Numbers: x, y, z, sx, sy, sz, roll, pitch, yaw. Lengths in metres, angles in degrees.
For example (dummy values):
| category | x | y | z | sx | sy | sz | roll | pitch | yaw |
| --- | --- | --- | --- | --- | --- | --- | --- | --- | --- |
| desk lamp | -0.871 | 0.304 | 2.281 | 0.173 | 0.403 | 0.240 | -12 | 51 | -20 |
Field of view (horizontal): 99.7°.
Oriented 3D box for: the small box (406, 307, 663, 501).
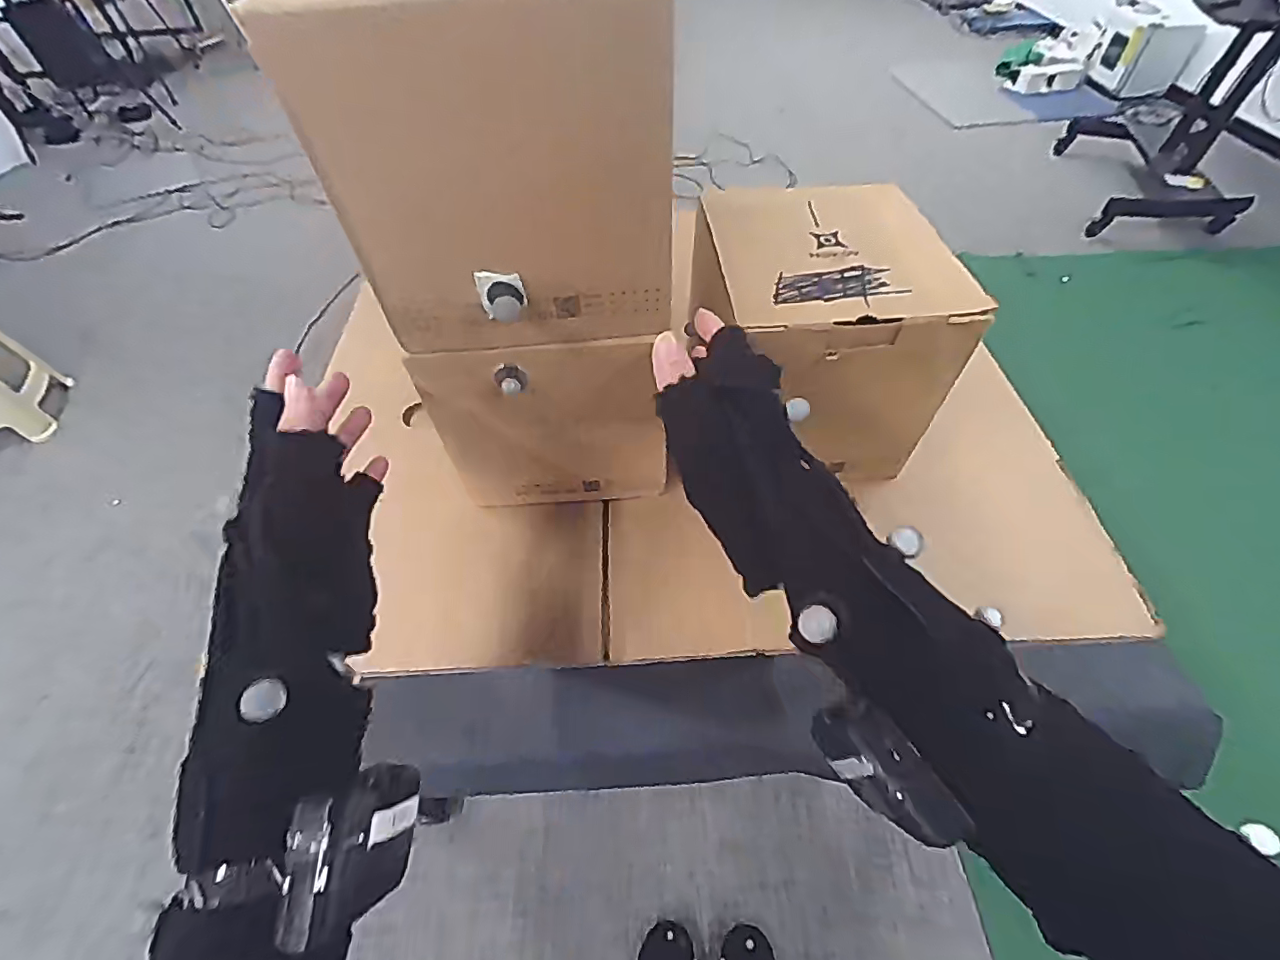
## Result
| category | x | y | z | sx | sy | sz | roll | pitch | yaw |
| --- | --- | --- | --- | --- | --- | --- | --- | --- | --- |
| small box | -0.067 | -0.102 | 0.456 | 0.168 | 0.176 | 0.179 | -4 | 52 | 1 |

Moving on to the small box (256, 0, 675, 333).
| category | x | y | z | sx | sy | sz | roll | pitch | yaw |
| --- | --- | --- | --- | --- | --- | --- | --- | --- | --- |
| small box | -0.074 | -0.211 | 0.316 | 0.168 | 0.176 | 0.179 | -7 | 55 | -2 |
